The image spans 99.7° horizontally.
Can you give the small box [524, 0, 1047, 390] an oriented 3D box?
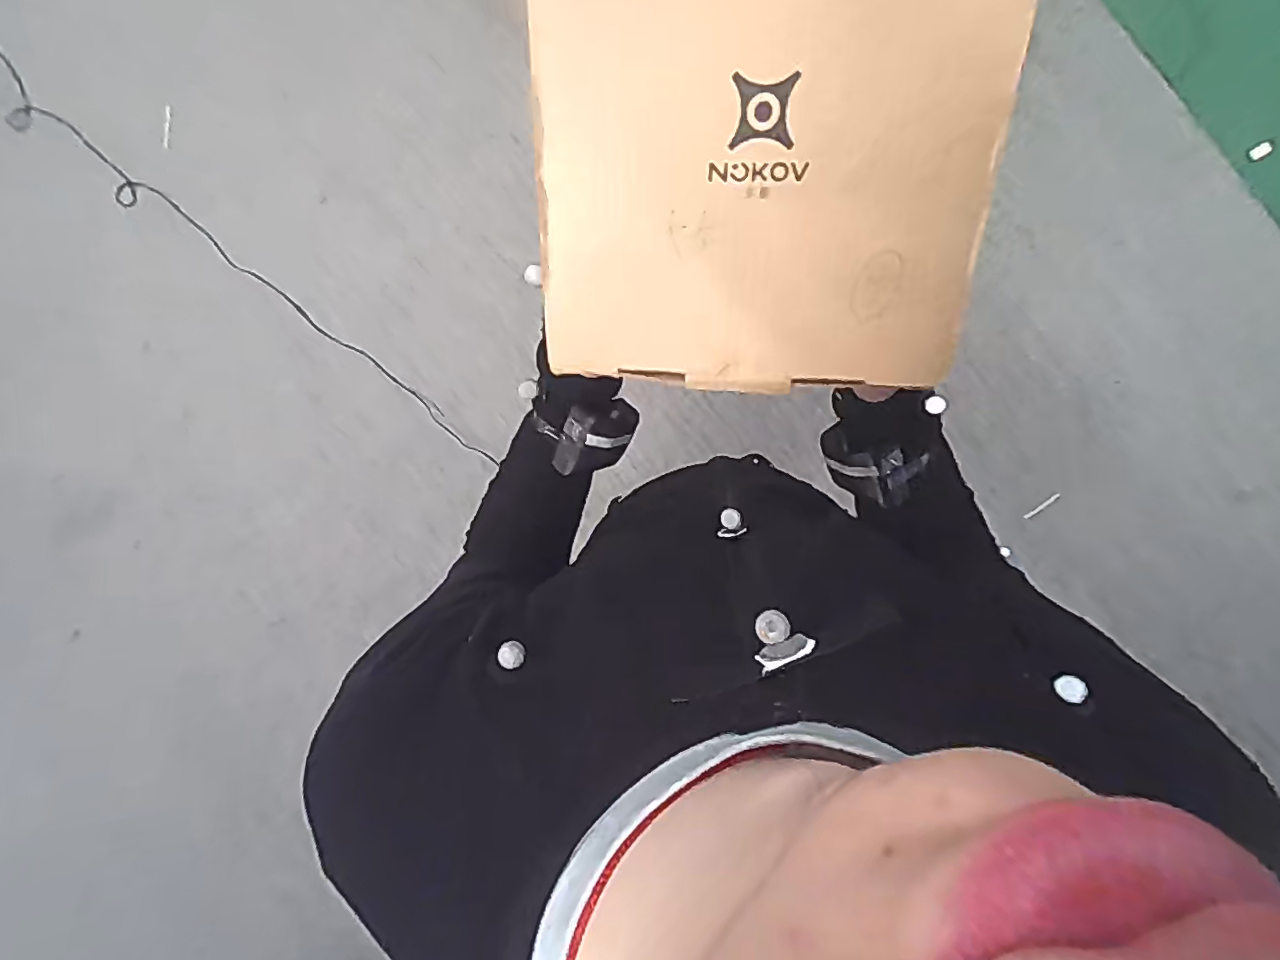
[{"bbox_3d":[0.050,-0.153,0.259,0.168,0.176,0.179,3,115,4],"label":"small box"}]
